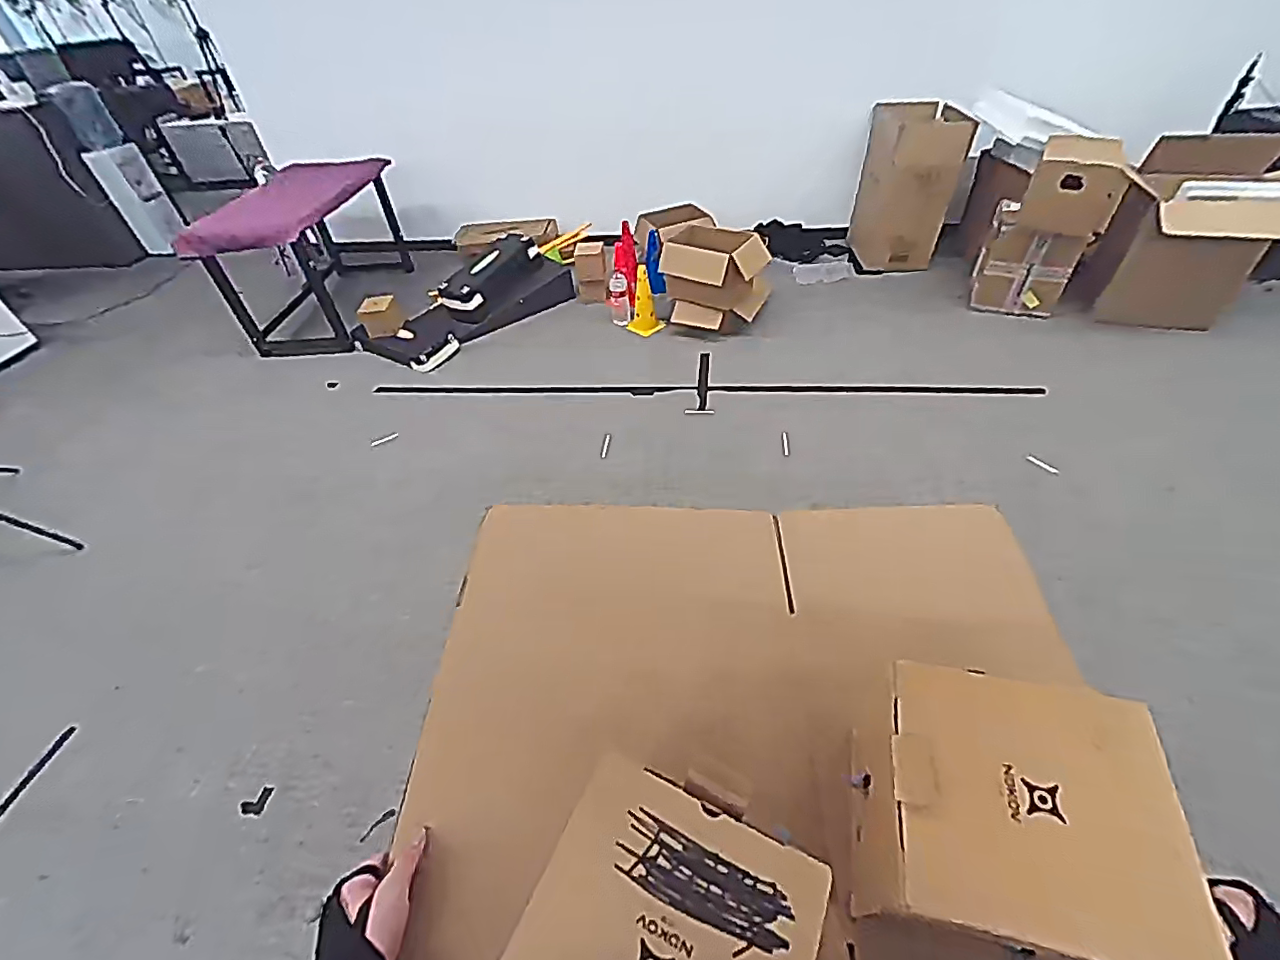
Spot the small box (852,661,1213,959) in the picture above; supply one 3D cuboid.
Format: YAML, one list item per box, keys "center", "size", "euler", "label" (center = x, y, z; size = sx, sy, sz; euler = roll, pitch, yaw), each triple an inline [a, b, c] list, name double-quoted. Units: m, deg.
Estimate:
- center: [0.280, 0.273, 0.439]
  size: [0.179, 0.176, 0.168]
  euler: [6, 50, 15]
  label: "small box"
